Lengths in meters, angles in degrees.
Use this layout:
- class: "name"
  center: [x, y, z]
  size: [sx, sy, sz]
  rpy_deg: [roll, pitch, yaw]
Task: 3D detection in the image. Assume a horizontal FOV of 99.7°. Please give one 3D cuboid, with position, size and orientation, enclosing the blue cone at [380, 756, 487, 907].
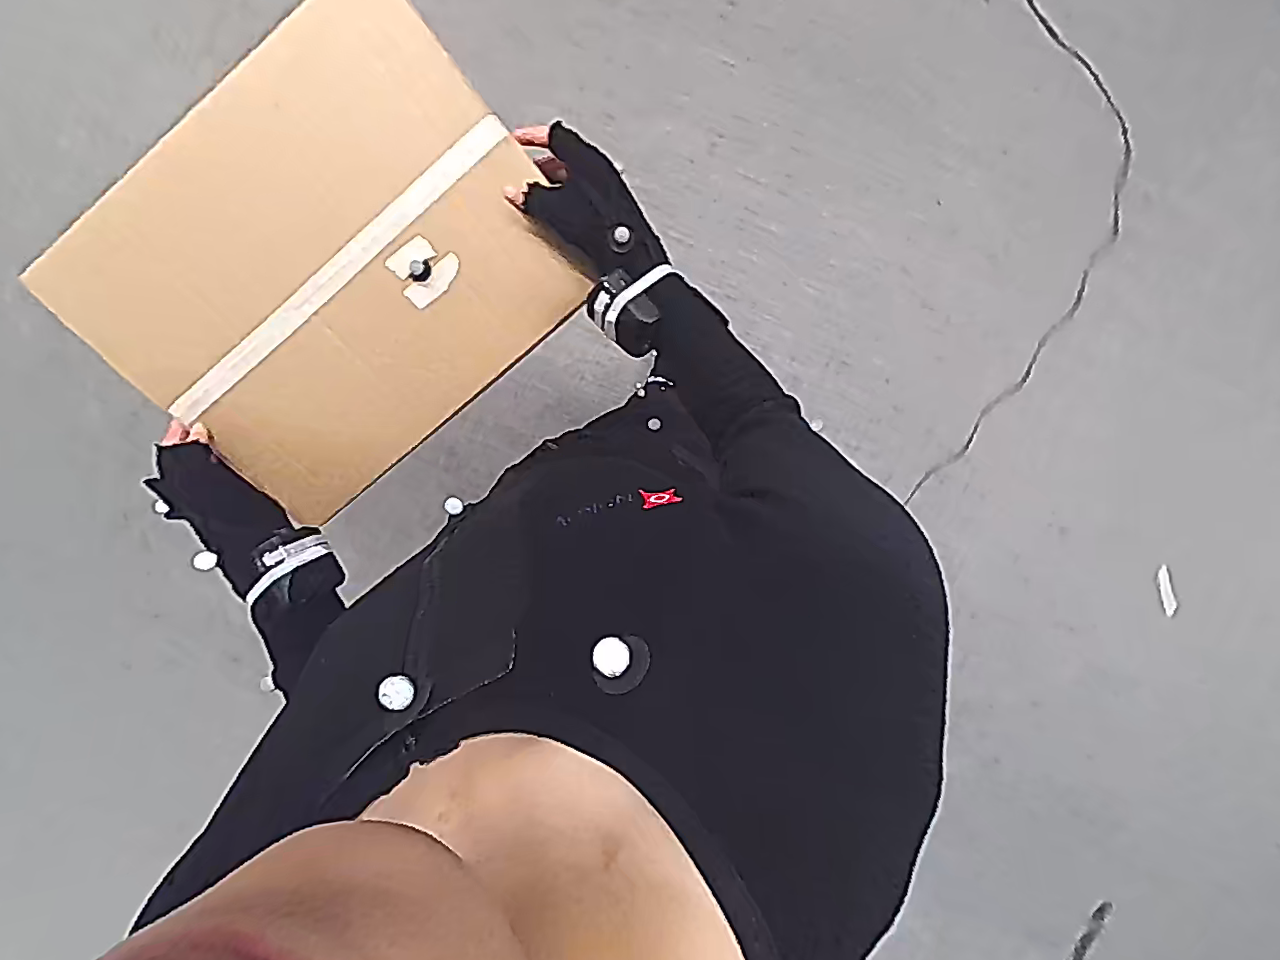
- class: "blue cone"
  center: [-0.552, 0.908, 1.378]
  size: [0.193, 0.380, 0.192]
  rpy_deg: [44, 93, -3]
